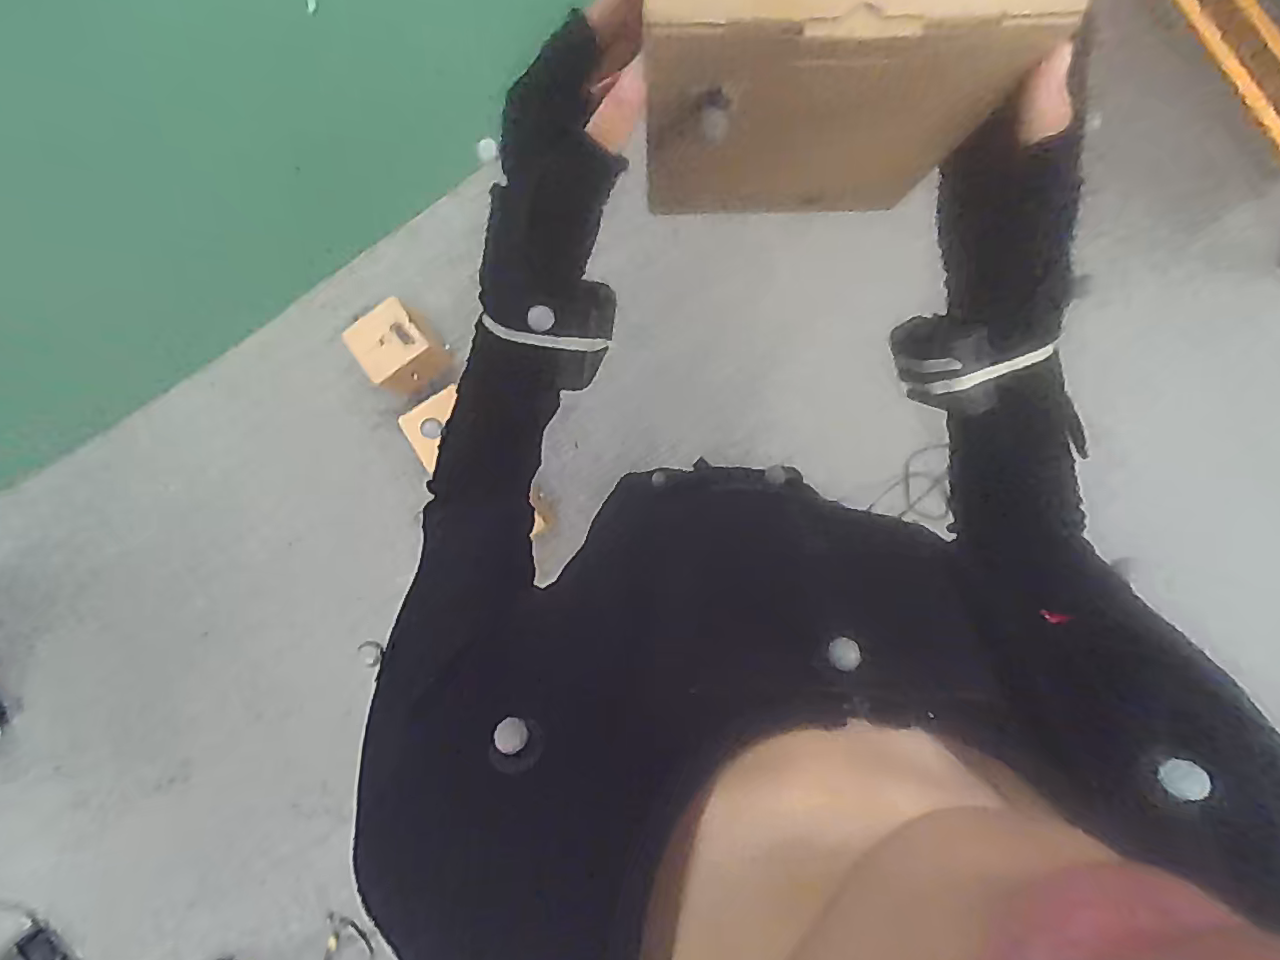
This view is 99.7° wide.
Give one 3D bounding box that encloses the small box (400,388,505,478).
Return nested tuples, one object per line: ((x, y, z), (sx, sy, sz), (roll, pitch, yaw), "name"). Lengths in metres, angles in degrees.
((-0.490, -0.116, 1.437), (0.179, 0.176, 0.168), (-32, 87, 2), "small box")

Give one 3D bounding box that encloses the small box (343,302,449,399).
((-0.639, -0.339, 1.448), (0.179, 0.176, 0.168), (-36, 87, 2), "small box")
